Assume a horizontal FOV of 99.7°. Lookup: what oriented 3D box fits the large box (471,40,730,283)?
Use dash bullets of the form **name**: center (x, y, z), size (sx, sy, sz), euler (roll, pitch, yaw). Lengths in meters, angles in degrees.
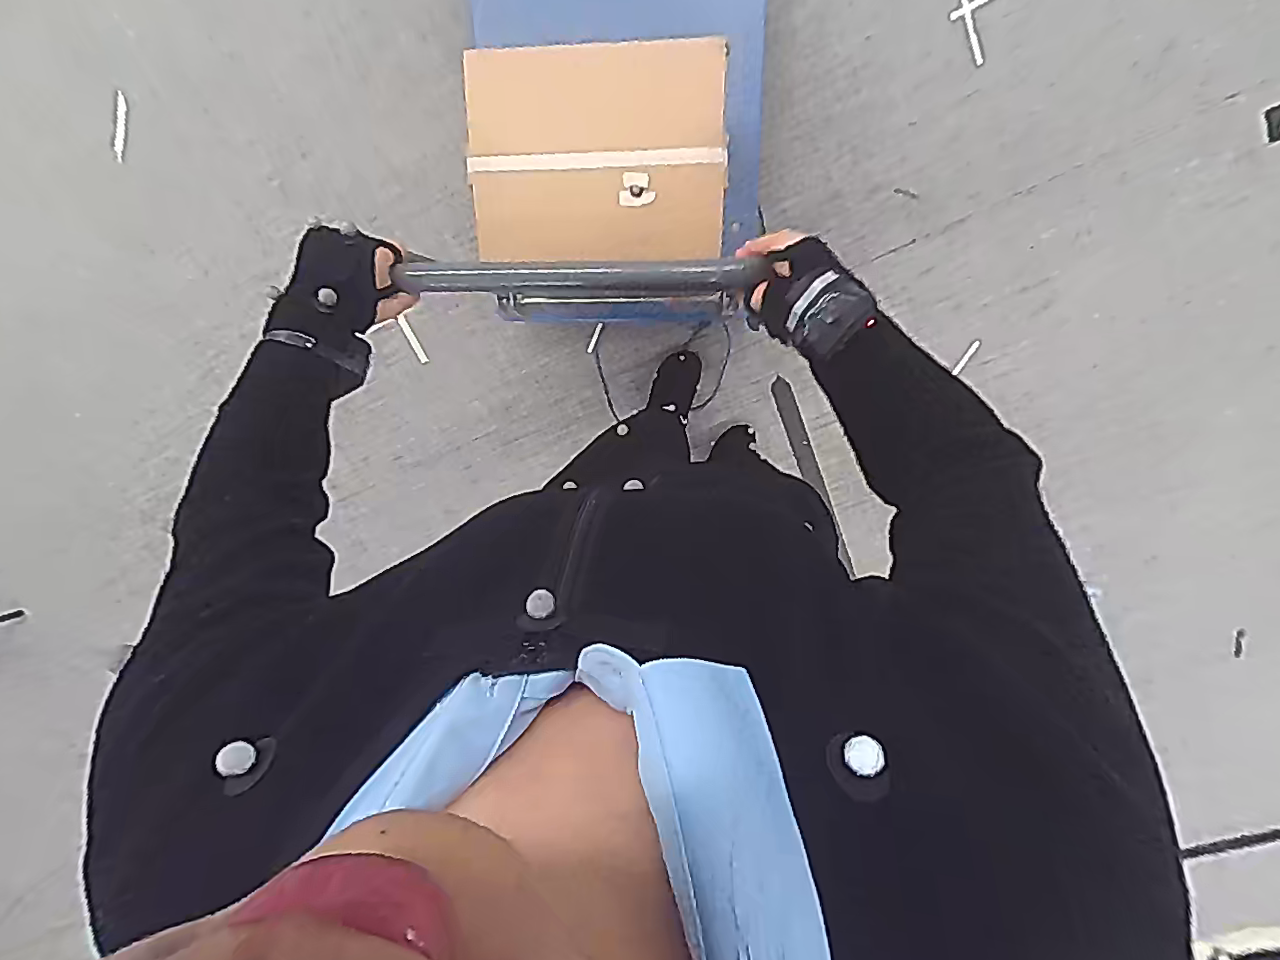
- **large box**: center (-0.051, -0.545, 1.001), size (0.408, 0.320, 0.320), euler (1, 107, 5)
